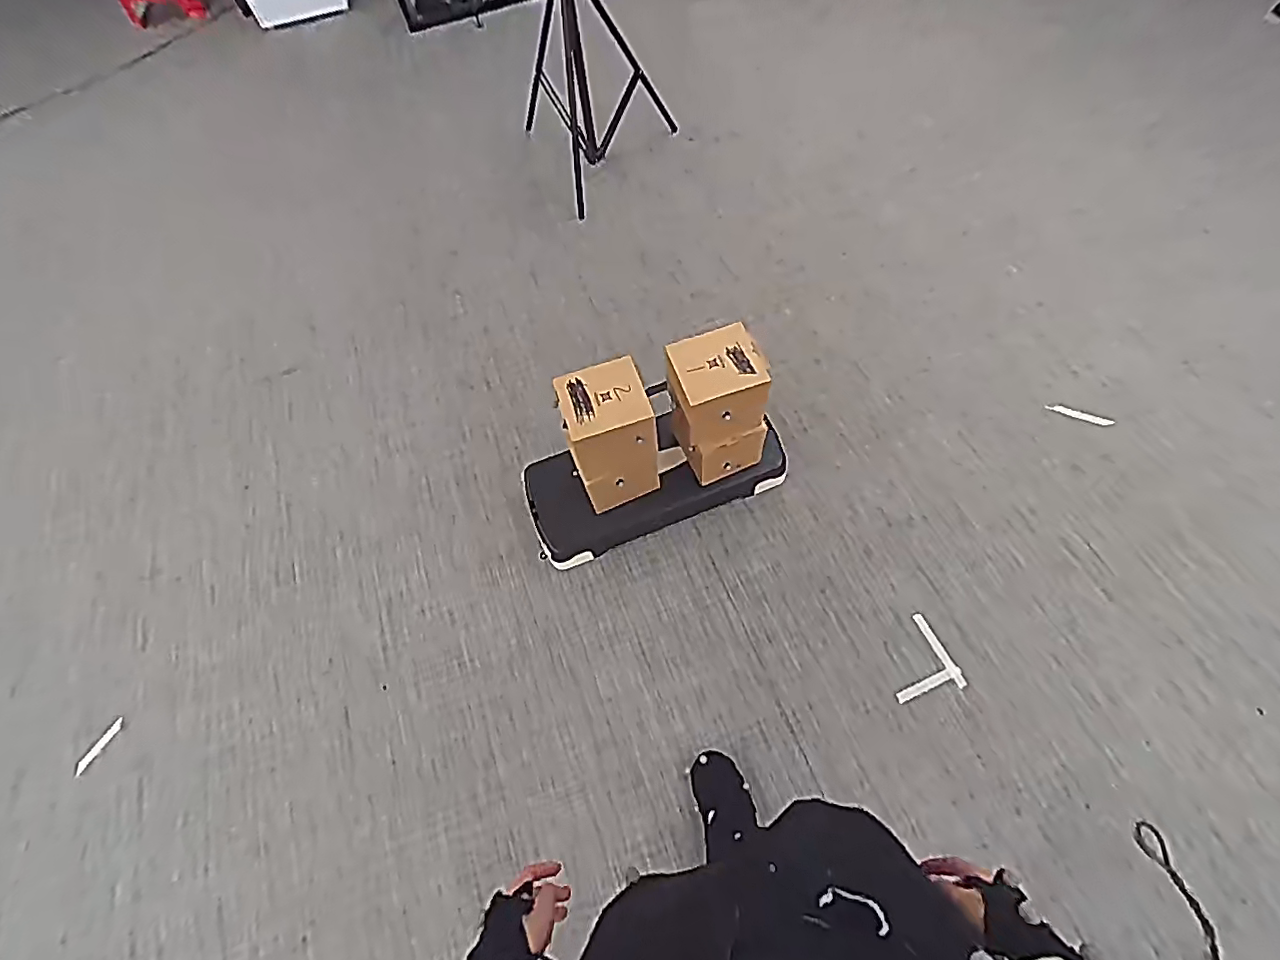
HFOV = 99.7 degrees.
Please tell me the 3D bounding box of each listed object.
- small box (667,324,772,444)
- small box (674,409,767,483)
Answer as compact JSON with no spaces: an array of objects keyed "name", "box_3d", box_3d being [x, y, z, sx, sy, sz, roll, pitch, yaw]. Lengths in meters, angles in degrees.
[{"name":"small box","box_3d":[0.166,-0.204,1.182,0.179,0.176,0.168,-18,64,-3]},{"name":"small box","box_3d":[0.188,-0.121,1.323,0.168,0.176,0.179,-23,65,-6]}]
